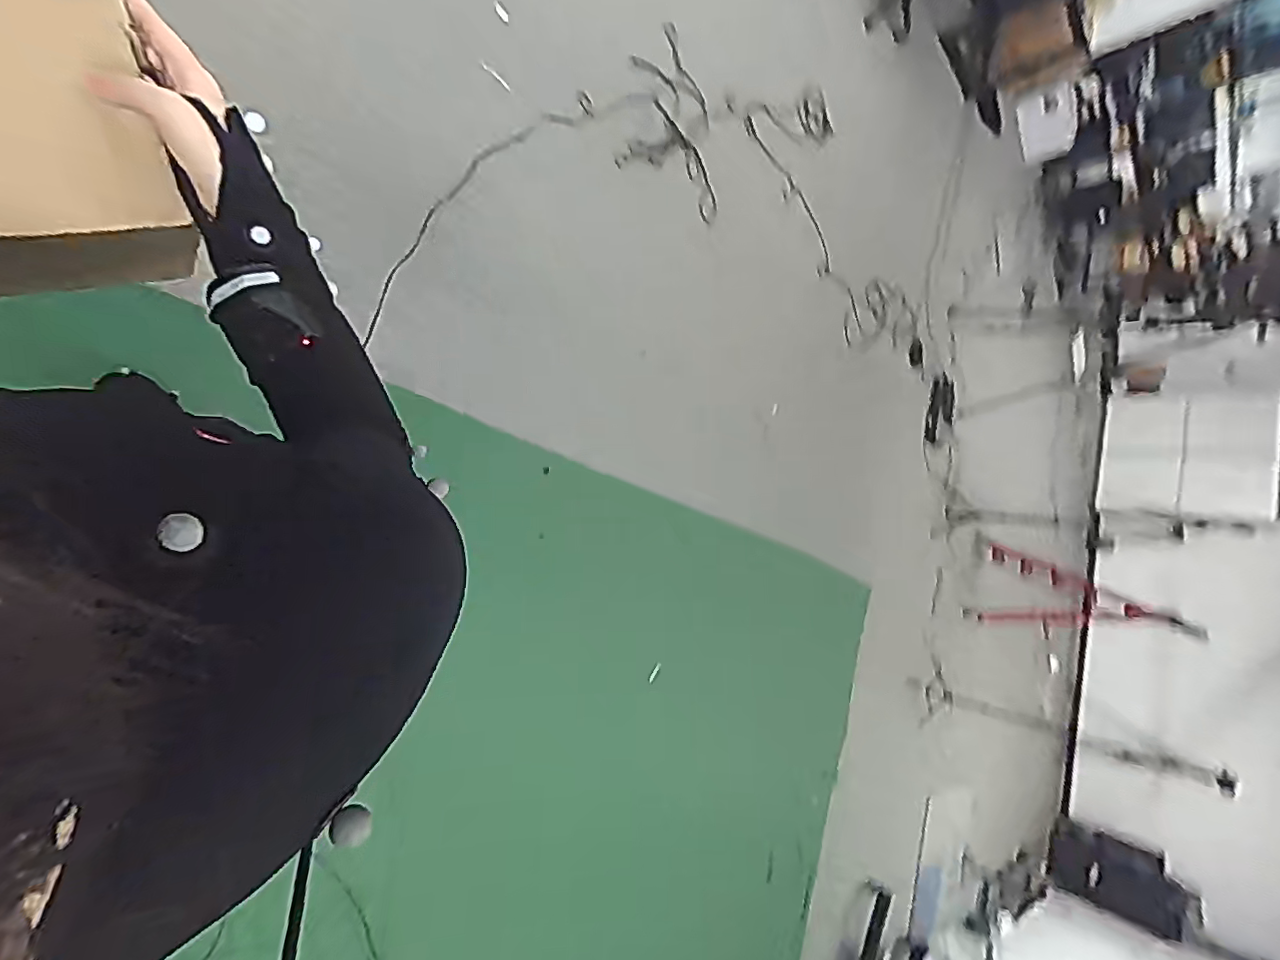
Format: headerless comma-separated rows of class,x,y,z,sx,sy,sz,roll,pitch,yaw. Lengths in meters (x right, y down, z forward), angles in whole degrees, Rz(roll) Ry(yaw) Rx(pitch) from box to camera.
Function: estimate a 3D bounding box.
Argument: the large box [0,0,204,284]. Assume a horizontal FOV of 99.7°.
large box,-0.608,-0.302,0.373,0.408,0.320,0.320,-23,114,-34
